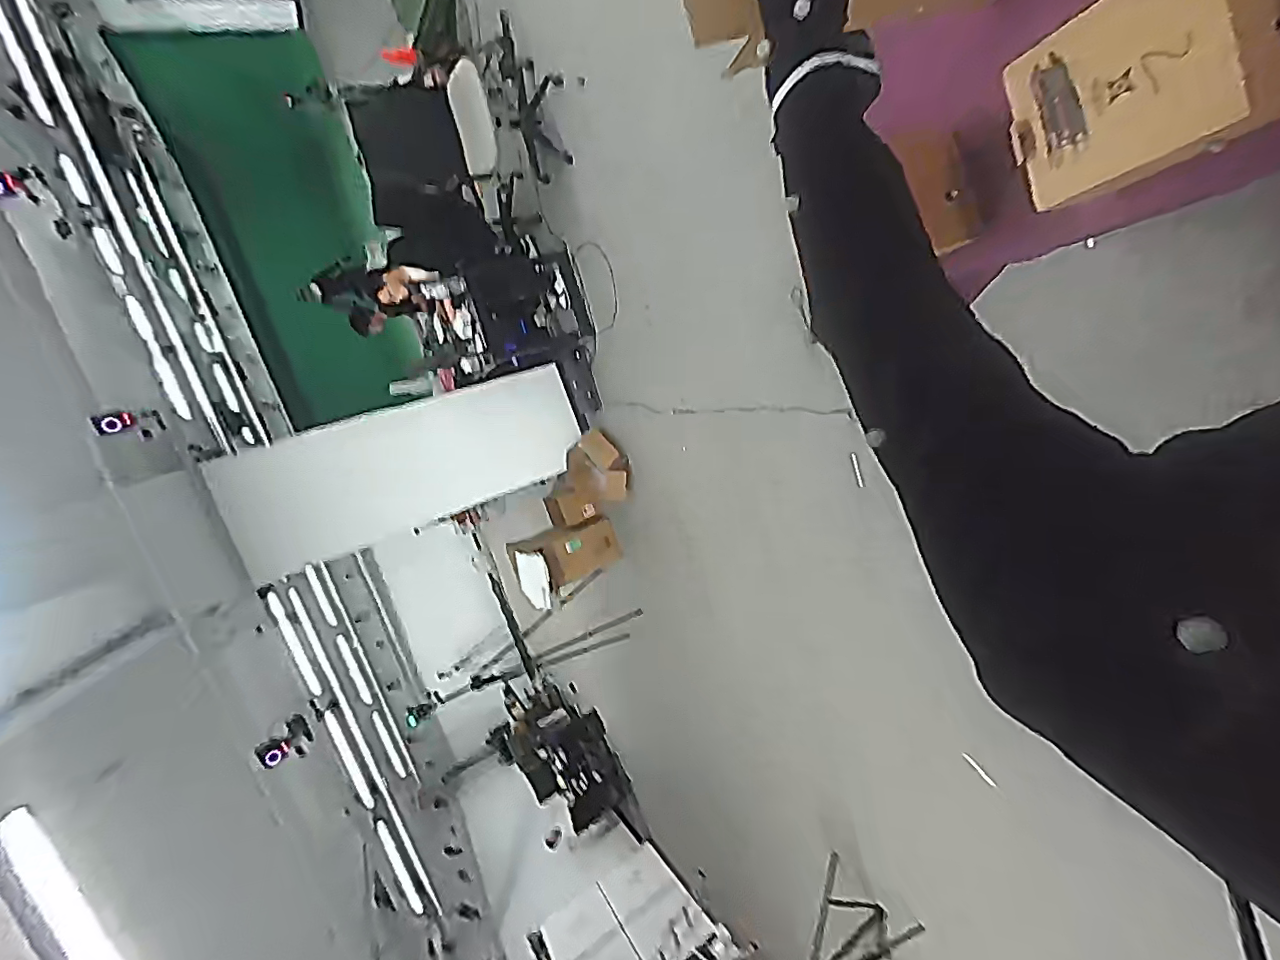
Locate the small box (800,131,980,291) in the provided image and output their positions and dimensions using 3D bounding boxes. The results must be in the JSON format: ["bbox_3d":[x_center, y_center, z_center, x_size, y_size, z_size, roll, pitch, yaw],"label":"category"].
[{"bbox_3d":[0.397,-0.425,0.867,0.179,0.176,0.168,-10,102,63],"label":"small box"}]
